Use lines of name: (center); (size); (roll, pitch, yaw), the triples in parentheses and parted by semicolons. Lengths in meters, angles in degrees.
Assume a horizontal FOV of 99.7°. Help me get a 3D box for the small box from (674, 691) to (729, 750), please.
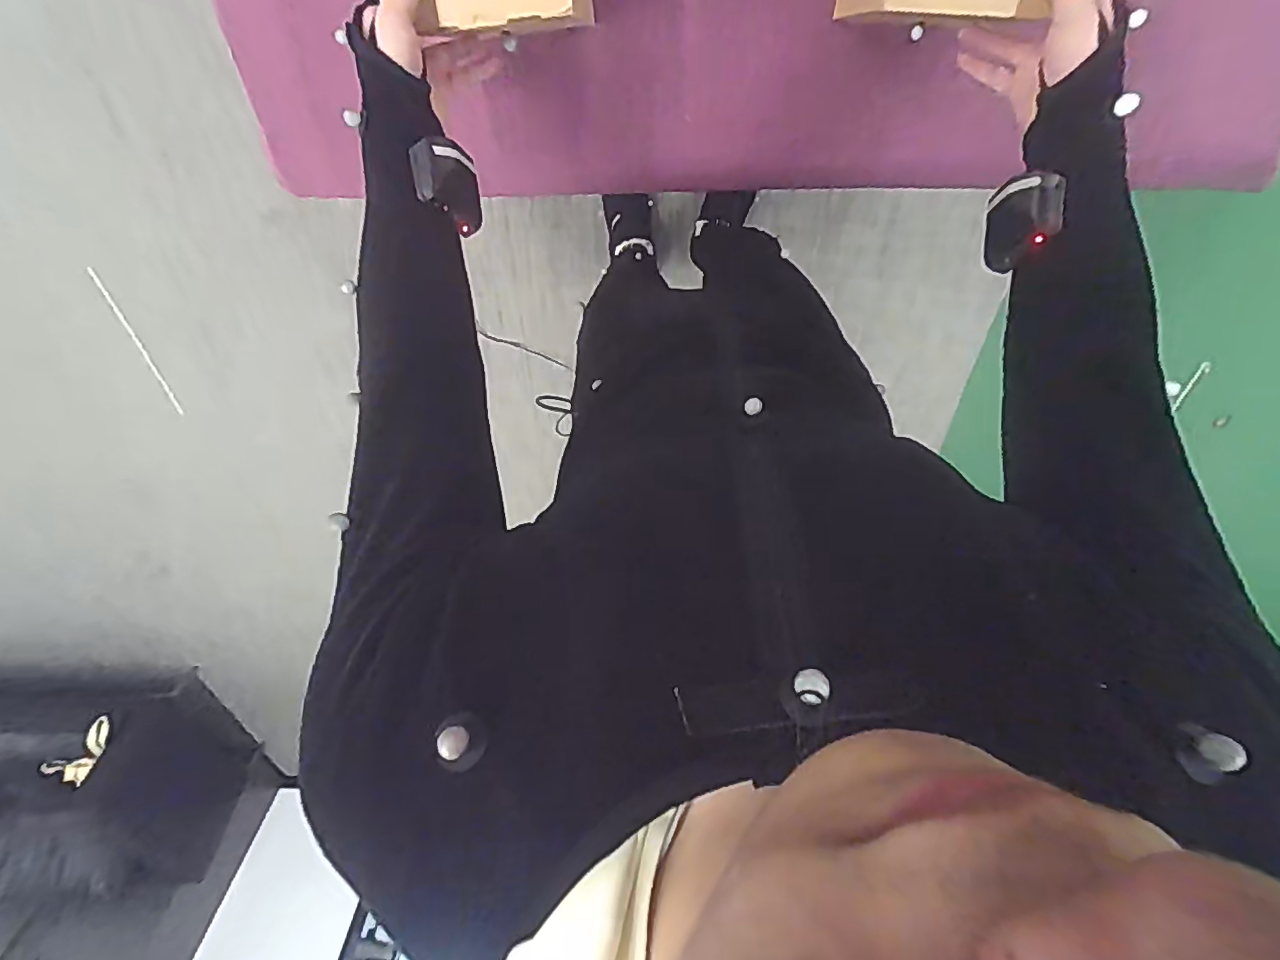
small box: (0.234, 0.943, 2.103); (0.179, 0.176, 0.168); (8, 129, -3)

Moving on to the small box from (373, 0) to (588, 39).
small box: (-0.142, -0.502, 0.465); (0.168, 0.176, 0.179); (-2, 128, 4)

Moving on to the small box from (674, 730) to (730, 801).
small box: (0.222, 1.041, 1.972); (0.168, 0.176, 0.179); (9, 128, -3)
